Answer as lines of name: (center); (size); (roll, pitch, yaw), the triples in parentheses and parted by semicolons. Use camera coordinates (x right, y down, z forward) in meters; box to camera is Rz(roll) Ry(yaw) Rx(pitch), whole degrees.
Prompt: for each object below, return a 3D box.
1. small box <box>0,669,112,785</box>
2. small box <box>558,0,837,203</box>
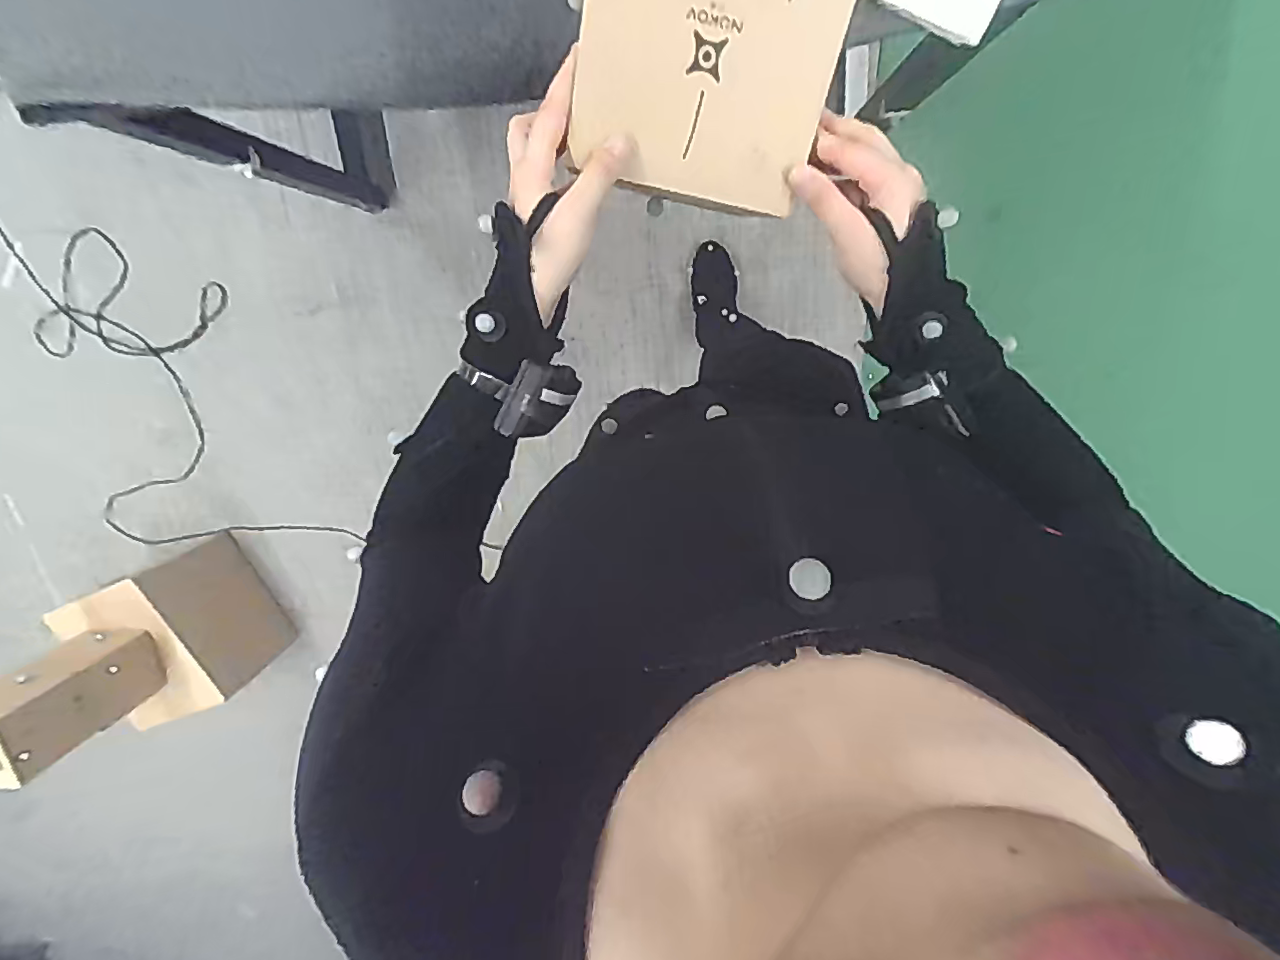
small box: (-1.349, 0.539, 1.196); (0.179, 0.176, 0.168); (-1, 108, 6)
small box: (0.034, -0.324, 0.413); (0.168, 0.176, 0.179); (8, 117, -7)
